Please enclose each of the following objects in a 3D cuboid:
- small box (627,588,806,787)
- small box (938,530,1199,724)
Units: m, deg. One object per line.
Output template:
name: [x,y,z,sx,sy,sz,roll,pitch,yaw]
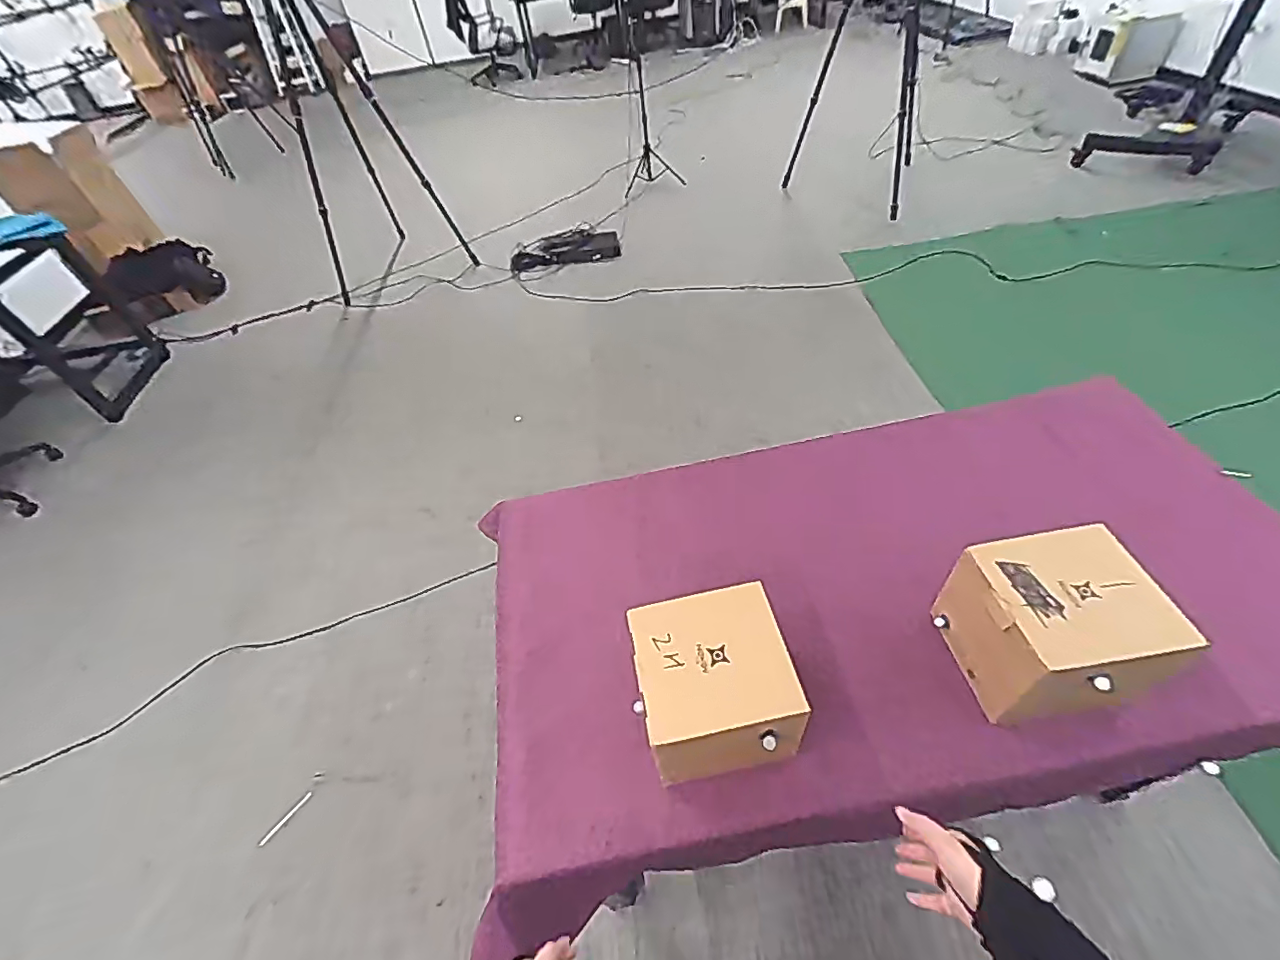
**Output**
small box: [0.089,0.263,0.681,0.179,0.176,0.168,-12,47,-1]
small box: [0.505,0.189,0.680,0.179,0.176,0.168,-10,47,0]
